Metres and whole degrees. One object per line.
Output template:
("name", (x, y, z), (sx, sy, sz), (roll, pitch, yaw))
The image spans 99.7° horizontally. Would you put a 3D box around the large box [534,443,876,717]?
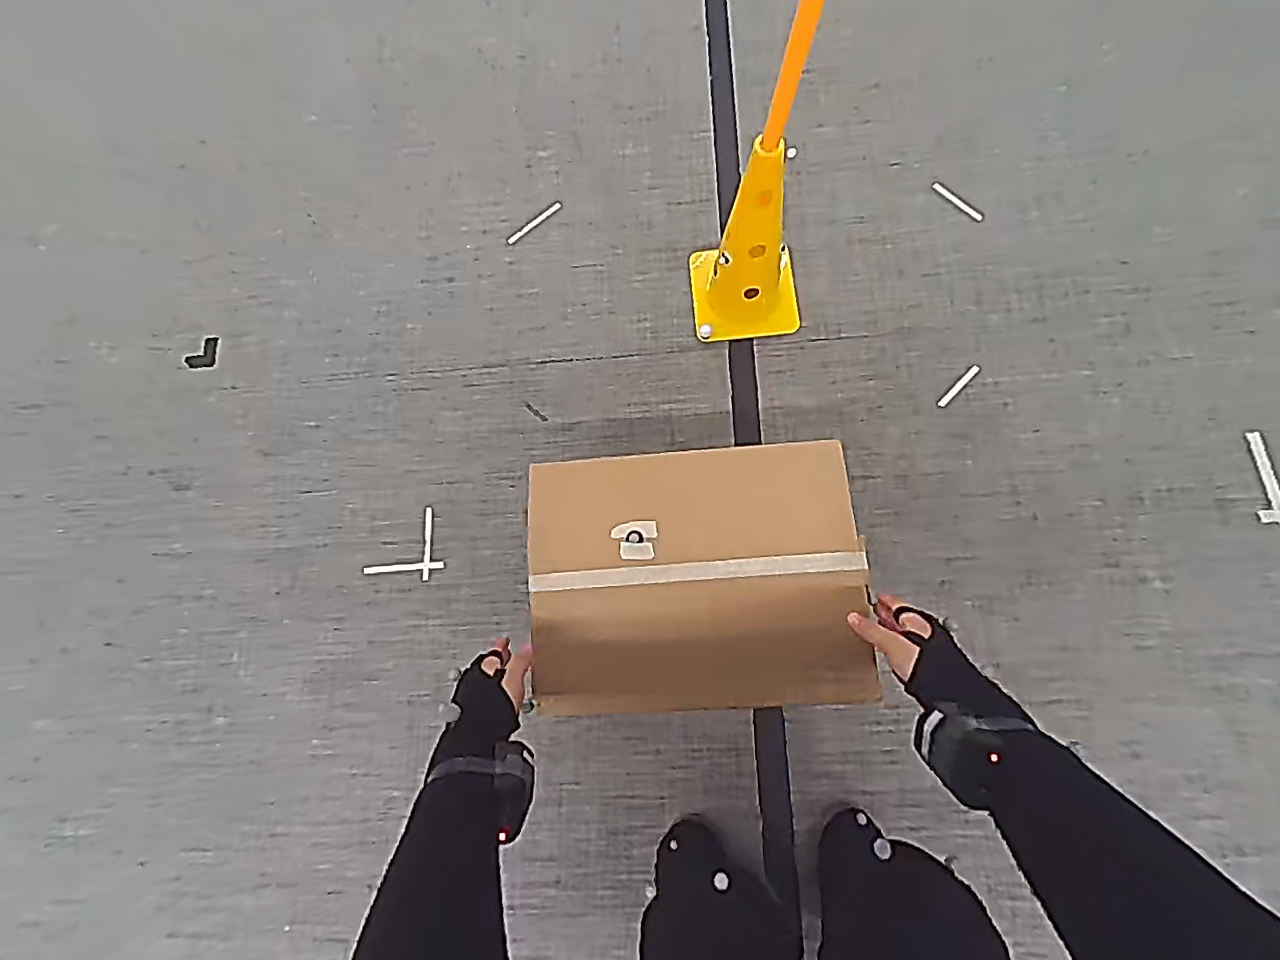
("large box", (0.082, 0.154, 0.815), (0.408, 0.320, 0.320), (-5, 75, 5))
